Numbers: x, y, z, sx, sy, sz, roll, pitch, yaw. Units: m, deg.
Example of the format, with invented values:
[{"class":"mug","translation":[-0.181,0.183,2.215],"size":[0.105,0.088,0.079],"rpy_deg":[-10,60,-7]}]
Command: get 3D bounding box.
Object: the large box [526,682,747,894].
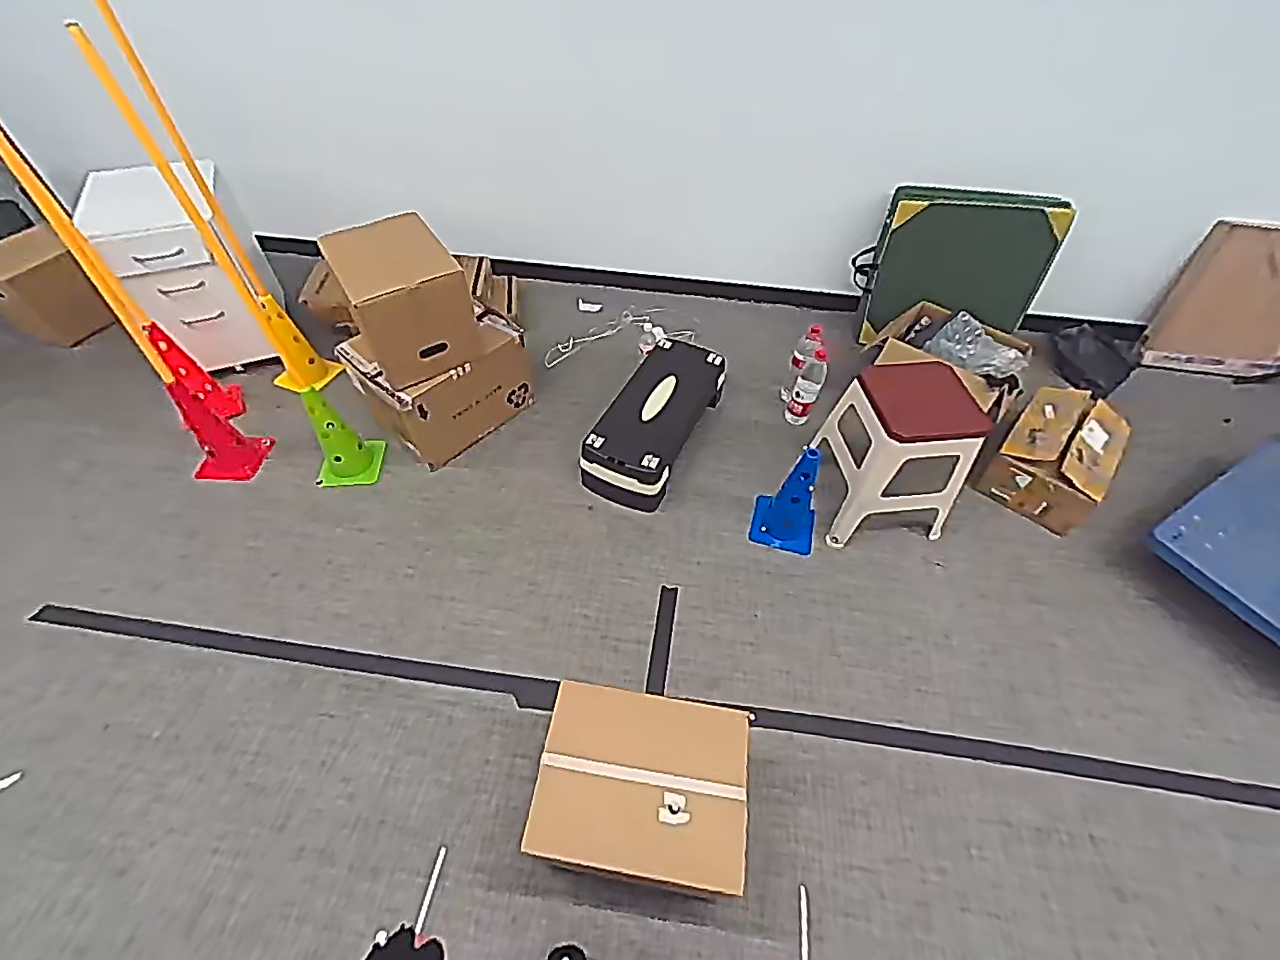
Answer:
[{"class":"large box","translation":[-0.001,0.670,1.172],"size":[0.408,0.320,0.320],"rpy_deg":[9,52,3]}]
